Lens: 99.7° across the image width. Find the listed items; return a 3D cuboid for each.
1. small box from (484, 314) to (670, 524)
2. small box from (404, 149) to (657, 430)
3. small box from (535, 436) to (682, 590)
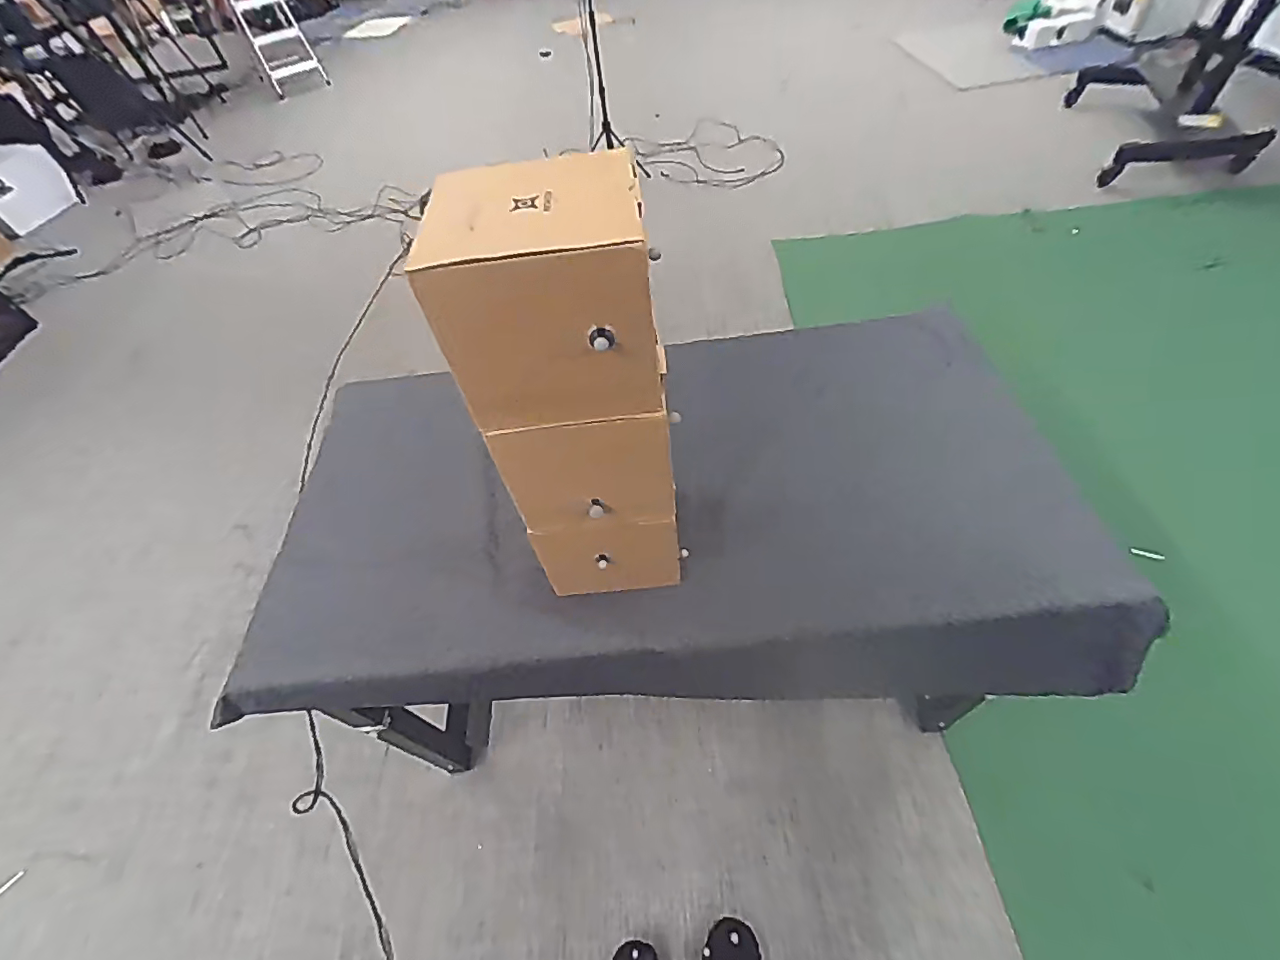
[{"bbox_3d":[-0.057,-0.065,0.617,0.179,0.176,0.168,-5,52,3],"label":"small box"},{"bbox_3d":[-0.078,-0.165,0.491,0.179,0.176,0.168,-8,51,3],"label":"small box"},{"bbox_3d":[-0.039,0.037,0.744,0.179,0.176,0.168,-7,53,0],"label":"small box"}]
